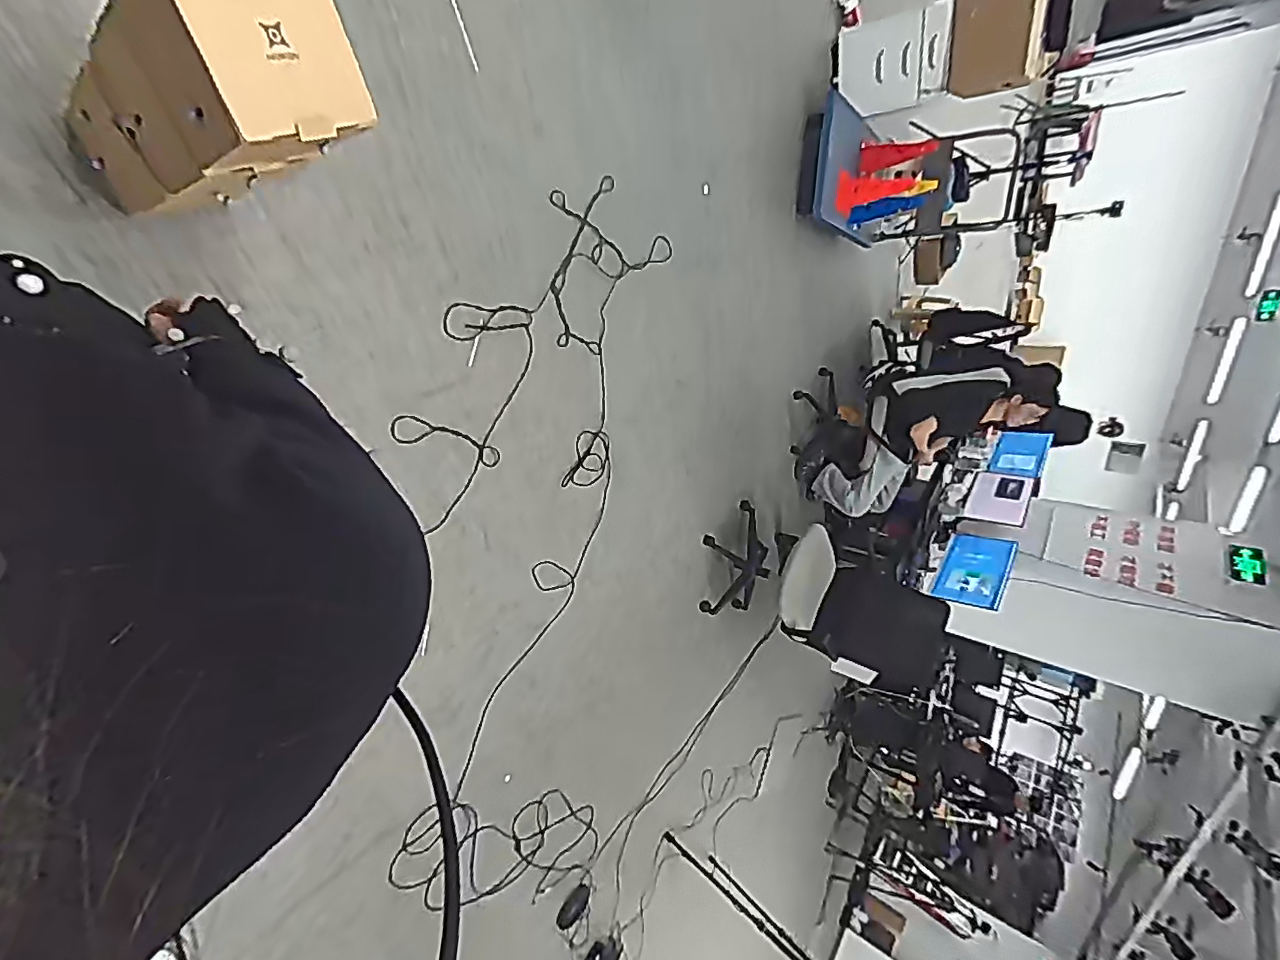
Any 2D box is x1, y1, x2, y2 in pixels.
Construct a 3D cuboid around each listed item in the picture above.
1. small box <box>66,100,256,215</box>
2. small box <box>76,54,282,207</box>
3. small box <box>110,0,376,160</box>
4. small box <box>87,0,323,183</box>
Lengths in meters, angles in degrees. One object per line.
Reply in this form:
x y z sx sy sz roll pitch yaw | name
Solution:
-0.824 -0.572 0.935 0.179 0.176 0.168 -41 129 -38 | small box
-0.705 -0.534 0.829 0.179 0.176 0.168 -43 131 -37 | small box
-0.453 -0.489 0.627 0.168 0.176 0.179 -43 130 -37 | small box
-0.578 -0.513 0.727 0.168 0.176 0.179 -42 131 -38 | small box
